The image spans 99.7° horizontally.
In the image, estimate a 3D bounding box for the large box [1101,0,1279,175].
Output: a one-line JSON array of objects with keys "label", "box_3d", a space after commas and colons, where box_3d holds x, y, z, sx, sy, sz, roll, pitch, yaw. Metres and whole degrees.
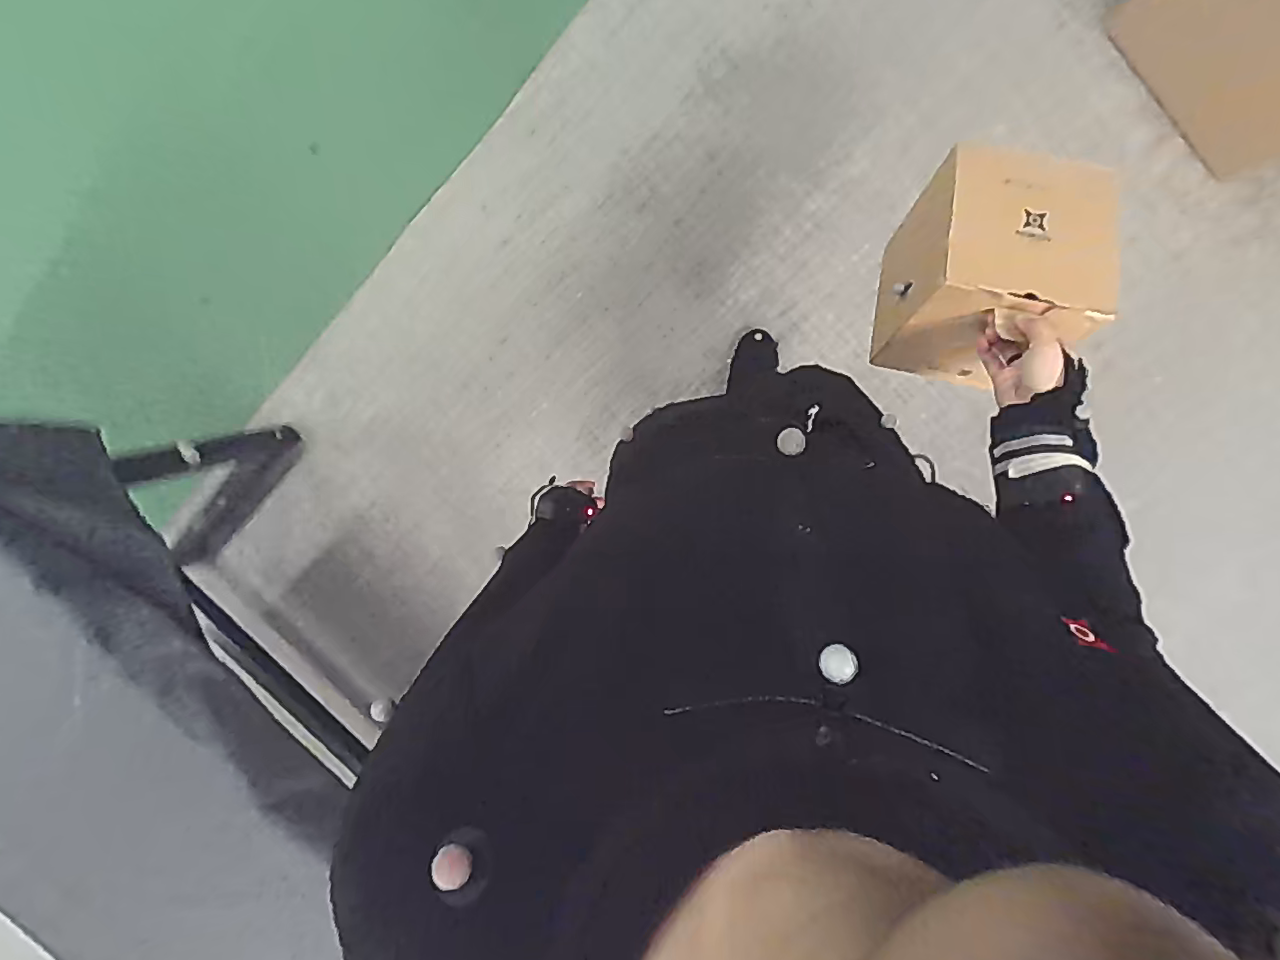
[{"label": "large box", "box_3d": [1.113, -0.810, 0.886, 0.320, 0.320, 0.408, -43, 96, 15]}]

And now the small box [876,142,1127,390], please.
[{"label": "small box", "box_3d": [0.381, -0.221, 0.597, 0.168, 0.176, 0.179, 14, 74, 2]}]
